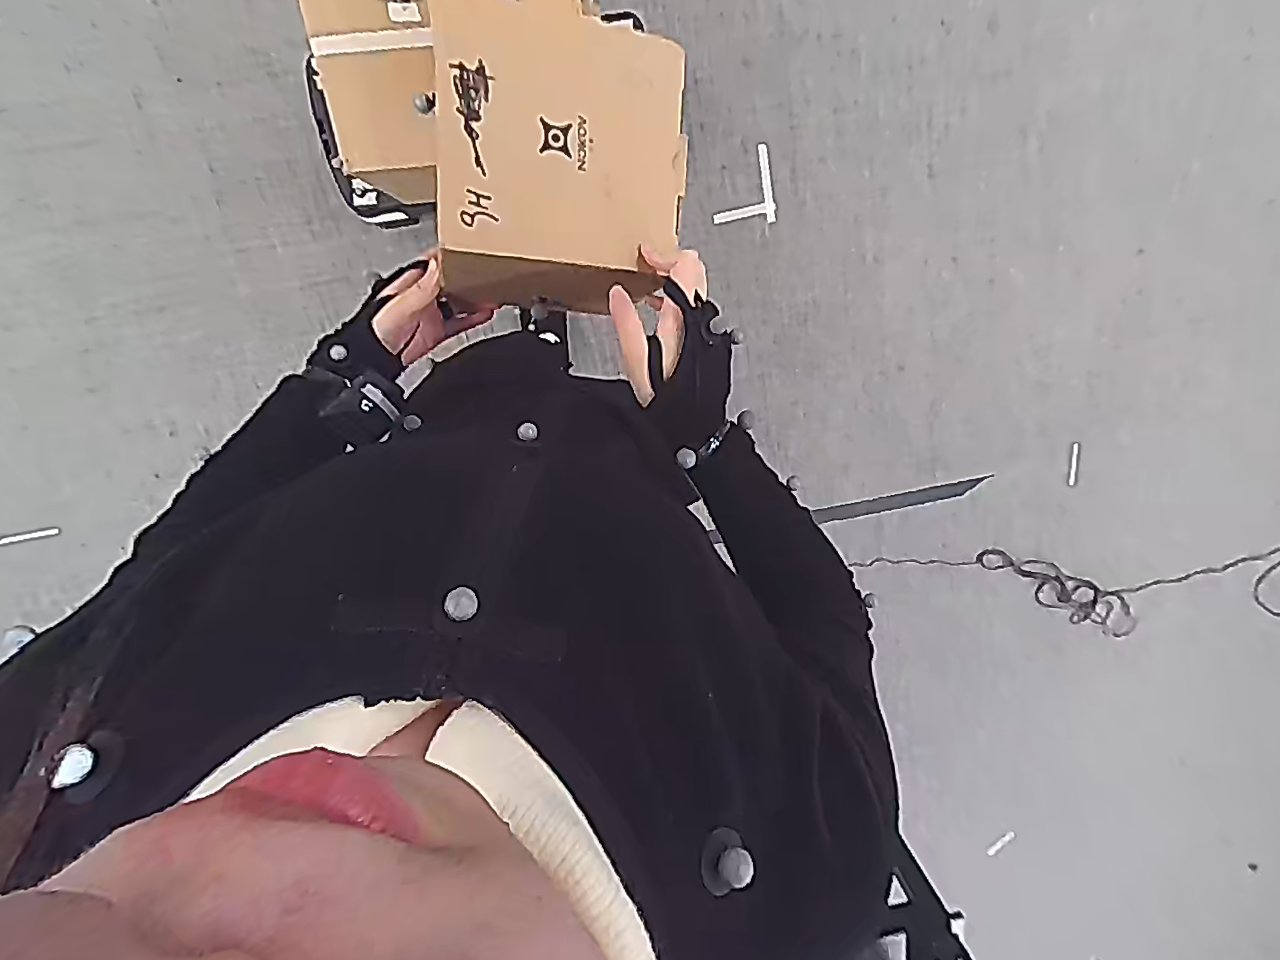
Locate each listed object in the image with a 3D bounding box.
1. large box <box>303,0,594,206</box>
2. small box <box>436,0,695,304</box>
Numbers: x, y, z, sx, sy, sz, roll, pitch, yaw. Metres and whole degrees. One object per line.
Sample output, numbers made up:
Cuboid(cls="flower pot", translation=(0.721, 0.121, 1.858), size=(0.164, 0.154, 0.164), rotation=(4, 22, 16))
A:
Cuboid(cls="large box", translation=(-0.270, -0.670, 0.909), size=(0.408, 0.320, 0.320), rotation=(-8, 108, -3))
Cuboid(cls="small box", translation=(-0.072, -0.248, 0.442), size=(0.179, 0.176, 0.168), rotation=(-1, 96, -20))
